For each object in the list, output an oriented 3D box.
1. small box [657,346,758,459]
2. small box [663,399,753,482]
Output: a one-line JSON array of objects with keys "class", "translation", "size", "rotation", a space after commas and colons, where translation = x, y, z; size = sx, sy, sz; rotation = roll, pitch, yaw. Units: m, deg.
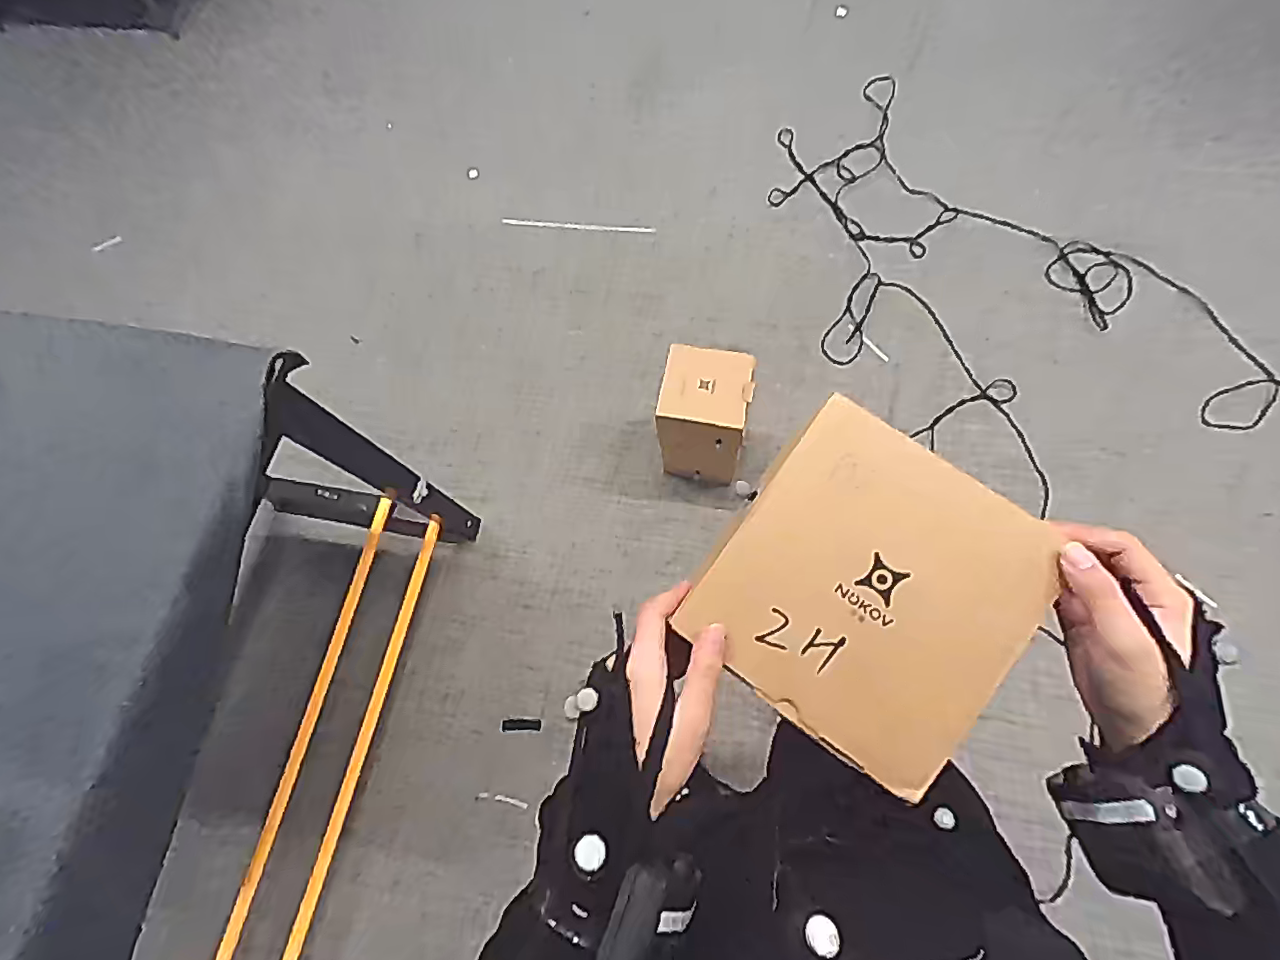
[{"class": "small box", "translation": [0.141, -0.156, 1.133], "size": [0.179, 0.176, 0.168], "rotation": [10, 71, 10]}, {"class": "small box", "translation": [0.159, -0.105, 1.288], "size": [0.179, 0.176, 0.168], "rotation": [12, 72, 8]}]
